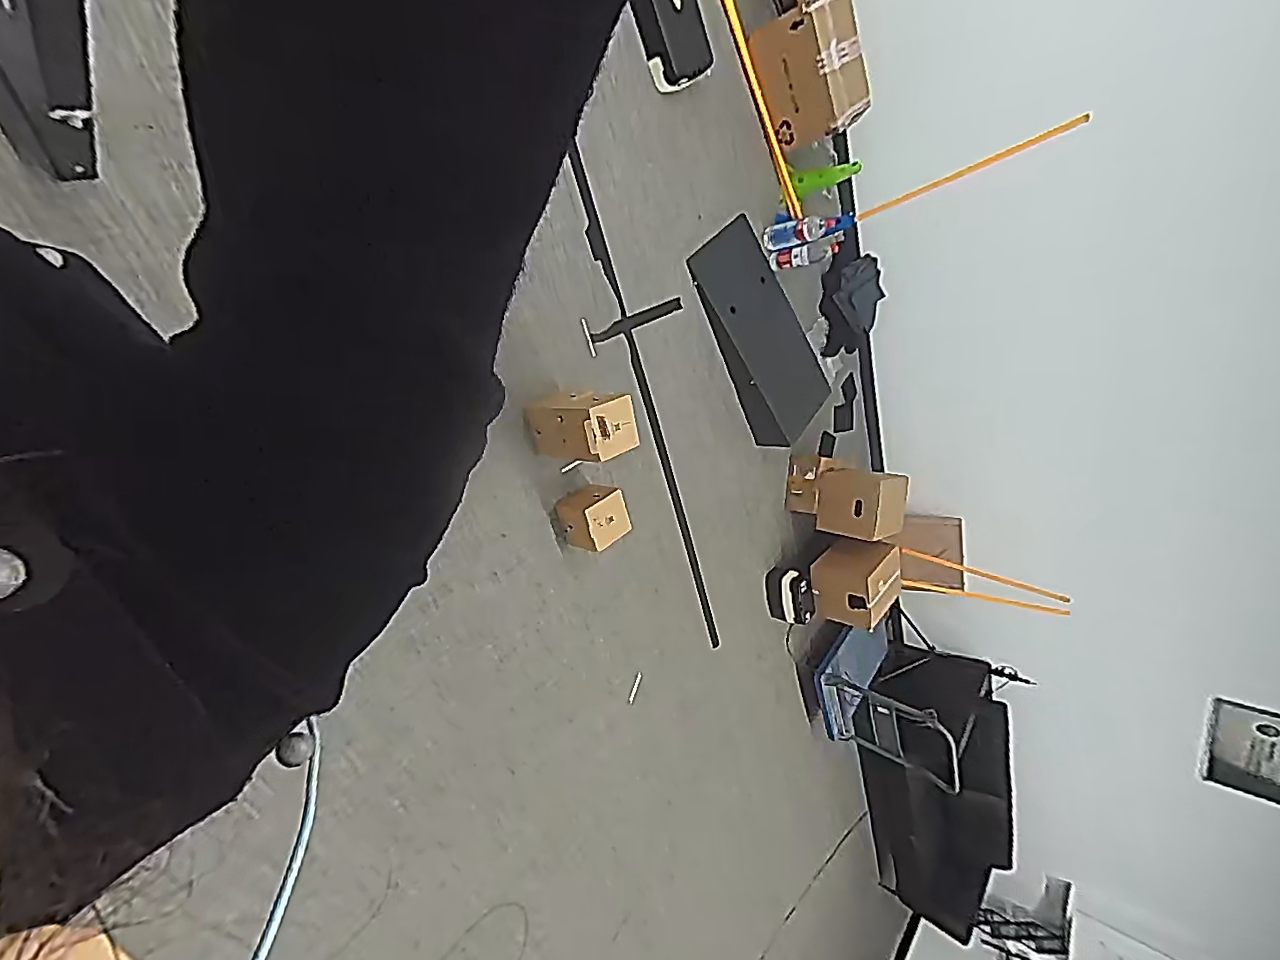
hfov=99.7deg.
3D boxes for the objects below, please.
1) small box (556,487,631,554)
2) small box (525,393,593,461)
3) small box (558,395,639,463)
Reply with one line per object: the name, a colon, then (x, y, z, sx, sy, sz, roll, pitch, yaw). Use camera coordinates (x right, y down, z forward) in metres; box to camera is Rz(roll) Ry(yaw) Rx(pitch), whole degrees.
small box: (-0.163, 0.134, 1.902, 0.179, 0.176, 0.168, -33, 117, -38)
small box: (-0.248, -0.180, 1.776, 0.168, 0.176, 0.179, -33, 118, -38)
small box: (-0.134, -0.158, 1.658, 0.179, 0.176, 0.168, -28, 115, -41)
